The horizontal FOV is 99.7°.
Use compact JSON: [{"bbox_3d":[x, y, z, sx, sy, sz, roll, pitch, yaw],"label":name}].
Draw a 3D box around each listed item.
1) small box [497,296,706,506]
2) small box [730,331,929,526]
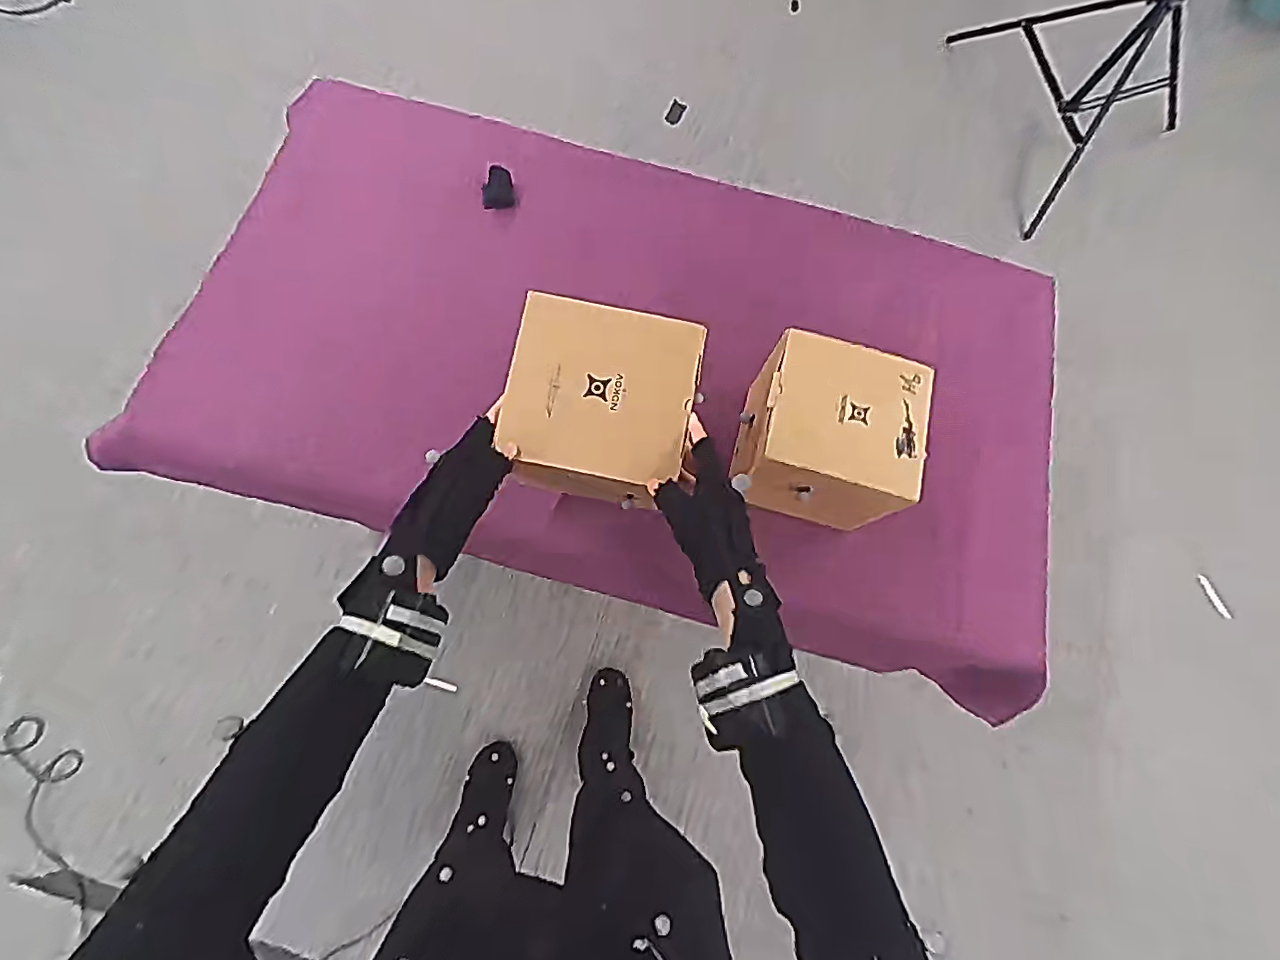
[{"bbox_3d":[-0.036,-0.072,0.591,0.179,0.176,0.168,10,77,0],"label":"small box"},{"bbox_3d":[0.223,-0.052,0.673,0.179,0.176,0.168,15,73,1],"label":"small box"}]
